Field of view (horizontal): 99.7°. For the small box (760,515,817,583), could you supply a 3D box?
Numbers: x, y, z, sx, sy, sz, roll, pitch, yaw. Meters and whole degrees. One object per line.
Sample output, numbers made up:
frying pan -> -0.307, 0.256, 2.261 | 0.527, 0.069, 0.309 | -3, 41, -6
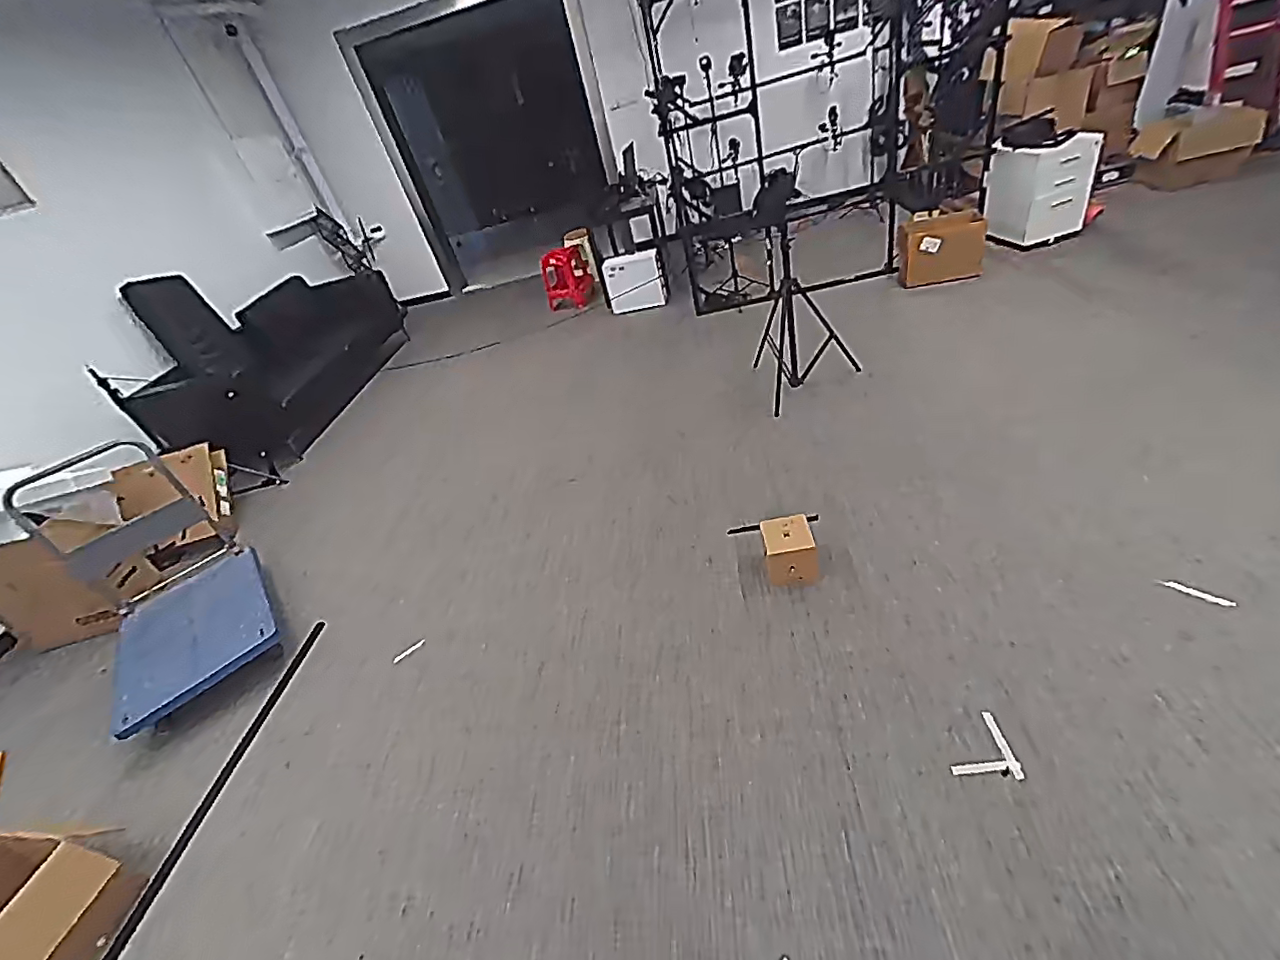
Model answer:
small box -> 0.539, 0.257, 1.957 | 0.168, 0.176, 0.179 | -10, 35, 9
